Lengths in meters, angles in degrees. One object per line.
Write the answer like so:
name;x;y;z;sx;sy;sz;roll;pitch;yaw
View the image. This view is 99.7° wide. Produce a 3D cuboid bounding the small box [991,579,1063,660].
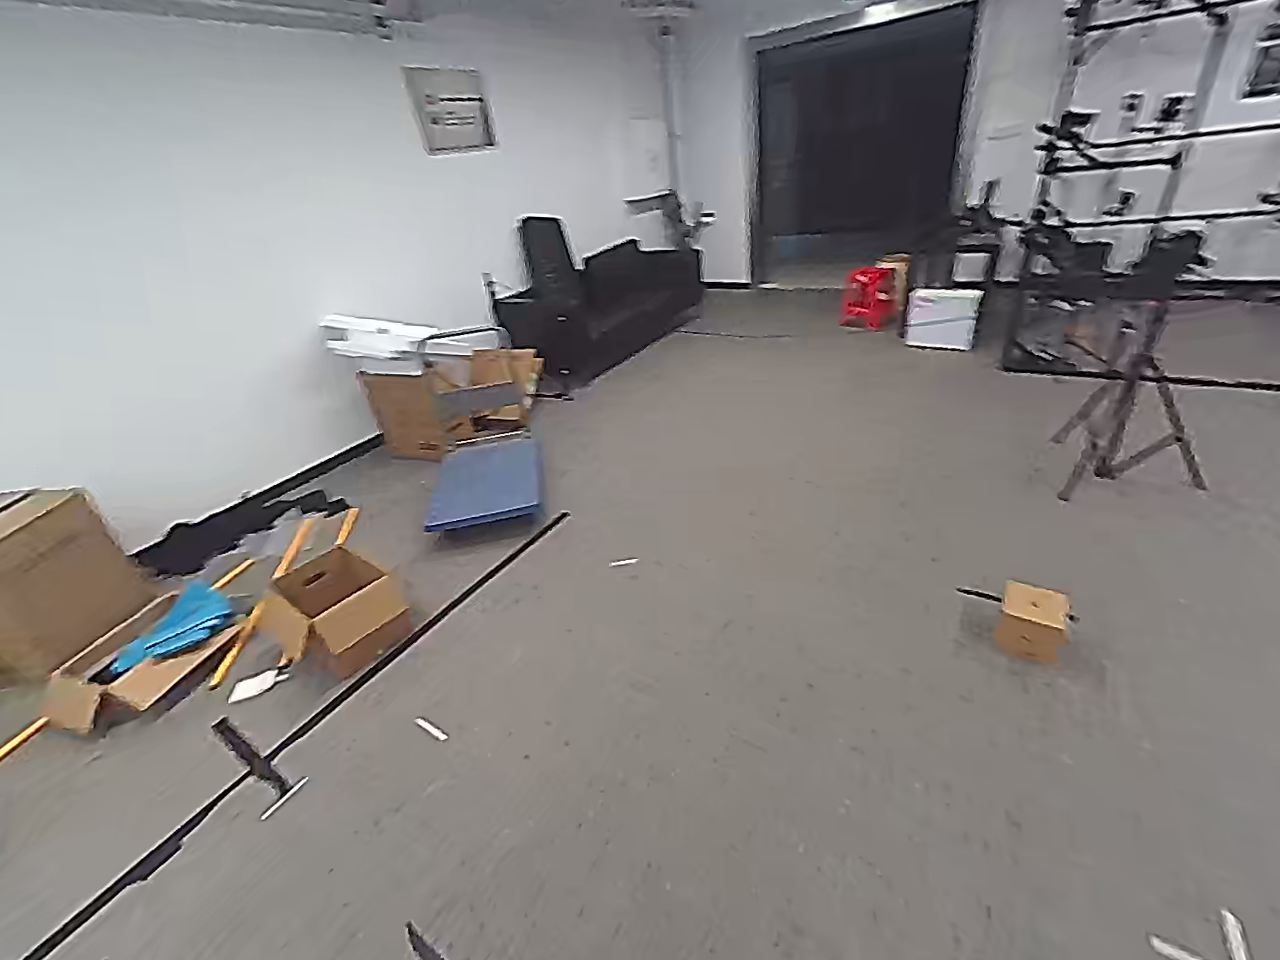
small box;1.291;0.467;1.808;0.168;0.176;0.179;14;36;33
